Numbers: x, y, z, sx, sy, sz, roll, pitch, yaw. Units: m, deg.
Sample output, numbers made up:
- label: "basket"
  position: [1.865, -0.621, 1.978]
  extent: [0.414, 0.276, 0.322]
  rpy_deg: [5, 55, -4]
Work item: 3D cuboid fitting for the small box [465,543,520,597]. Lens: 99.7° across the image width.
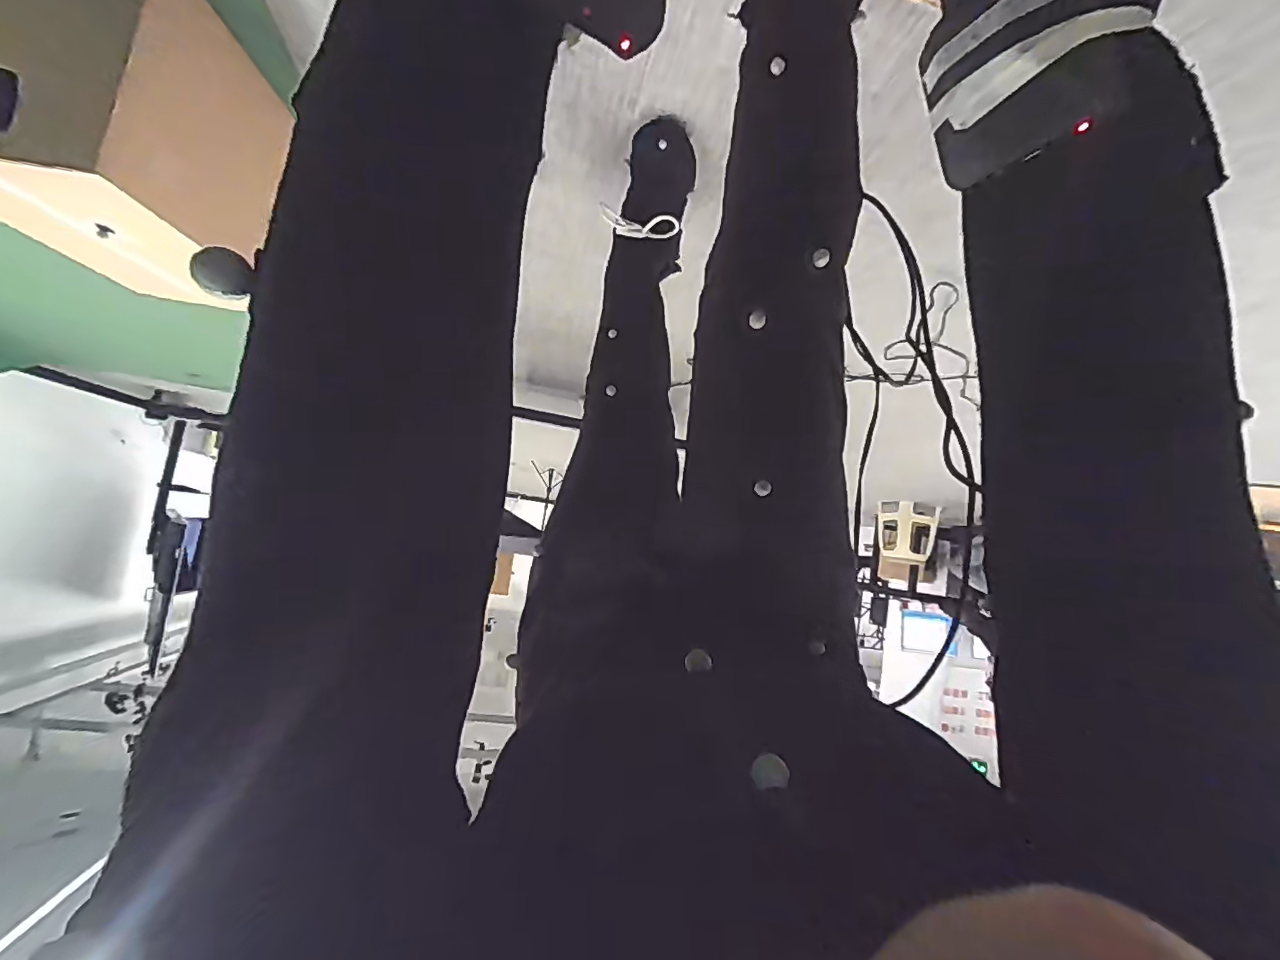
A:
- label: "small box"
  position: [-0.559, 0.341, 2.059]
  extent: [0.179, 0.176, 0.168]
  rpy_deg: [11, 174, -14]
